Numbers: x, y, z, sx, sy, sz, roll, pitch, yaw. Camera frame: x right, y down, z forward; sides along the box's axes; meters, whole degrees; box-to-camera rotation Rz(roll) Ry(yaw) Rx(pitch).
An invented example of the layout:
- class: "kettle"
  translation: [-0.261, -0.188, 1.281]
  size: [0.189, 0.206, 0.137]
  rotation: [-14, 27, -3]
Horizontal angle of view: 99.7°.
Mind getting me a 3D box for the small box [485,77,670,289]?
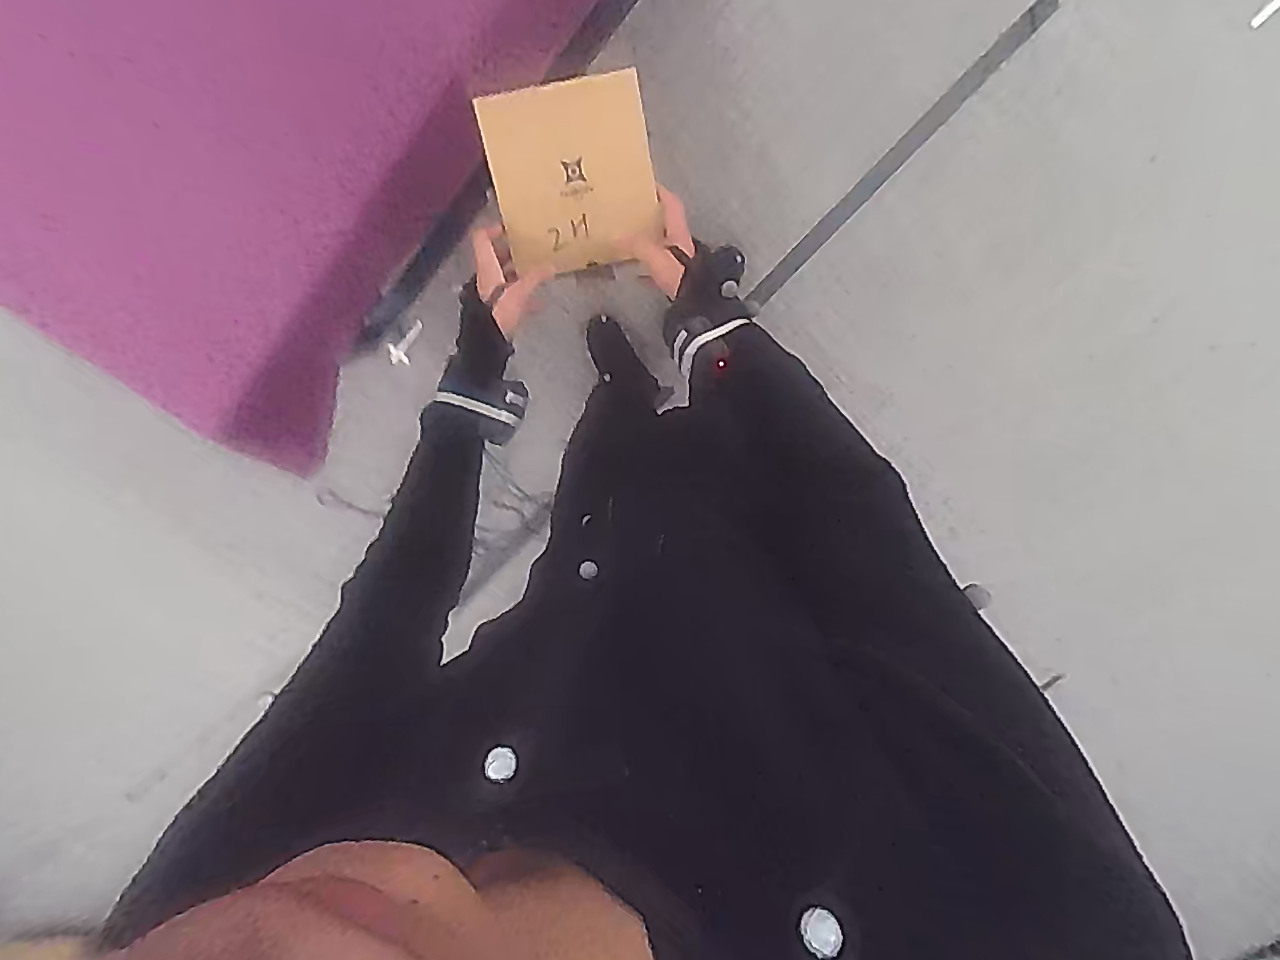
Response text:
- class: "small box"
  translation: [-0.067, -0.330, 0.636]
  size: [0.168, 0.176, 0.179]
  rotation: [-11, 110, 0]
